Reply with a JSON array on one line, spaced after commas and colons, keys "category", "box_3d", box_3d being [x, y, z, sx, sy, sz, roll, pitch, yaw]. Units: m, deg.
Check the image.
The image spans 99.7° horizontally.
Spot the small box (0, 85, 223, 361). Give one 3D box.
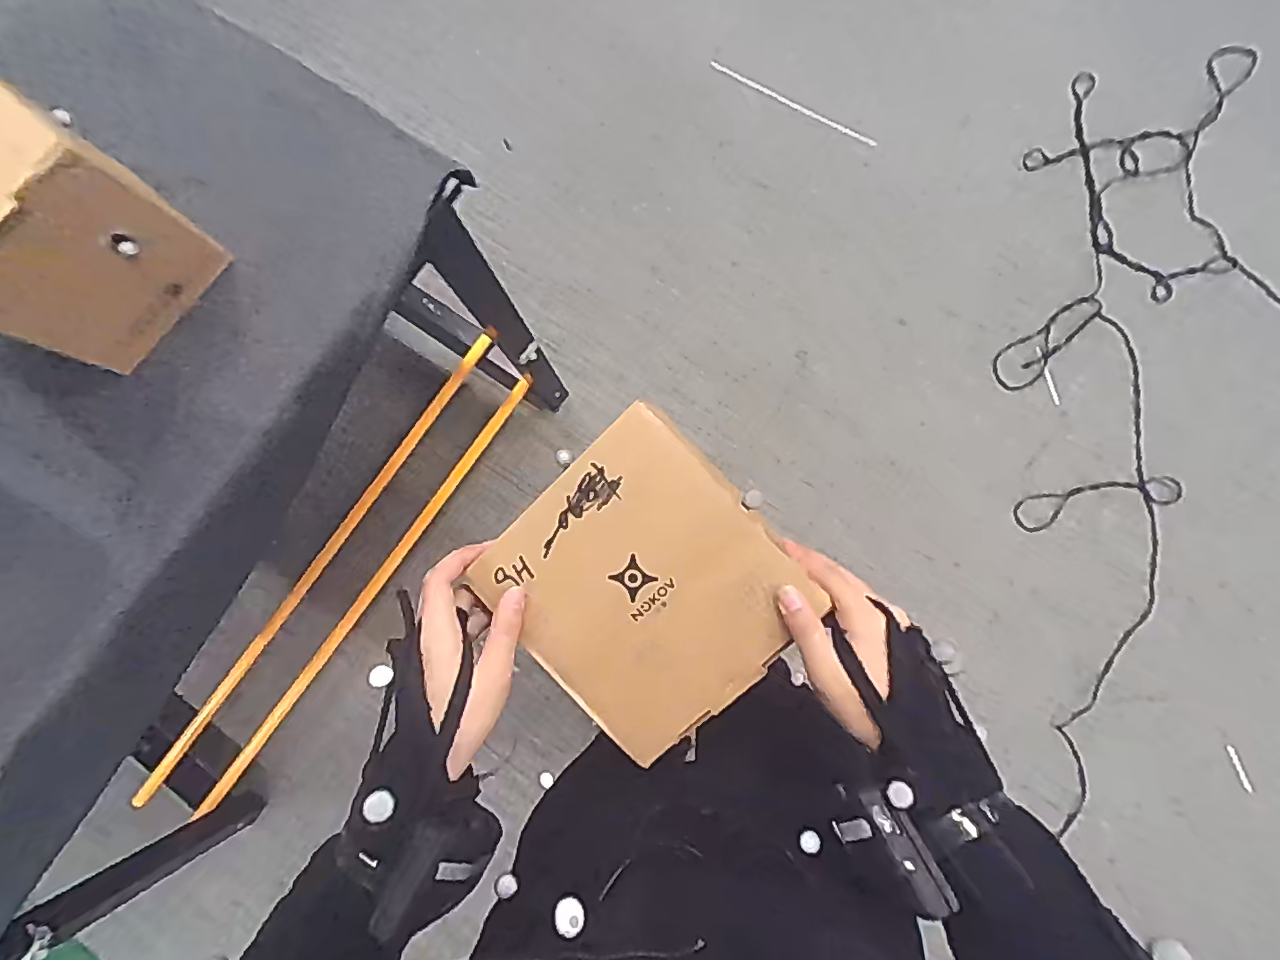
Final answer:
[{"category": "small box", "box_3d": [-0.551, -0.233, 0.499, 0.179, 0.176, 0.168, 38, 84, 9]}]

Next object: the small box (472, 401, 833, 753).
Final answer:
[{"category": "small box", "box_3d": [0.014, 0.056, 0.421, 0.168, 0.176, 0.179, -43, 89, 8]}]
